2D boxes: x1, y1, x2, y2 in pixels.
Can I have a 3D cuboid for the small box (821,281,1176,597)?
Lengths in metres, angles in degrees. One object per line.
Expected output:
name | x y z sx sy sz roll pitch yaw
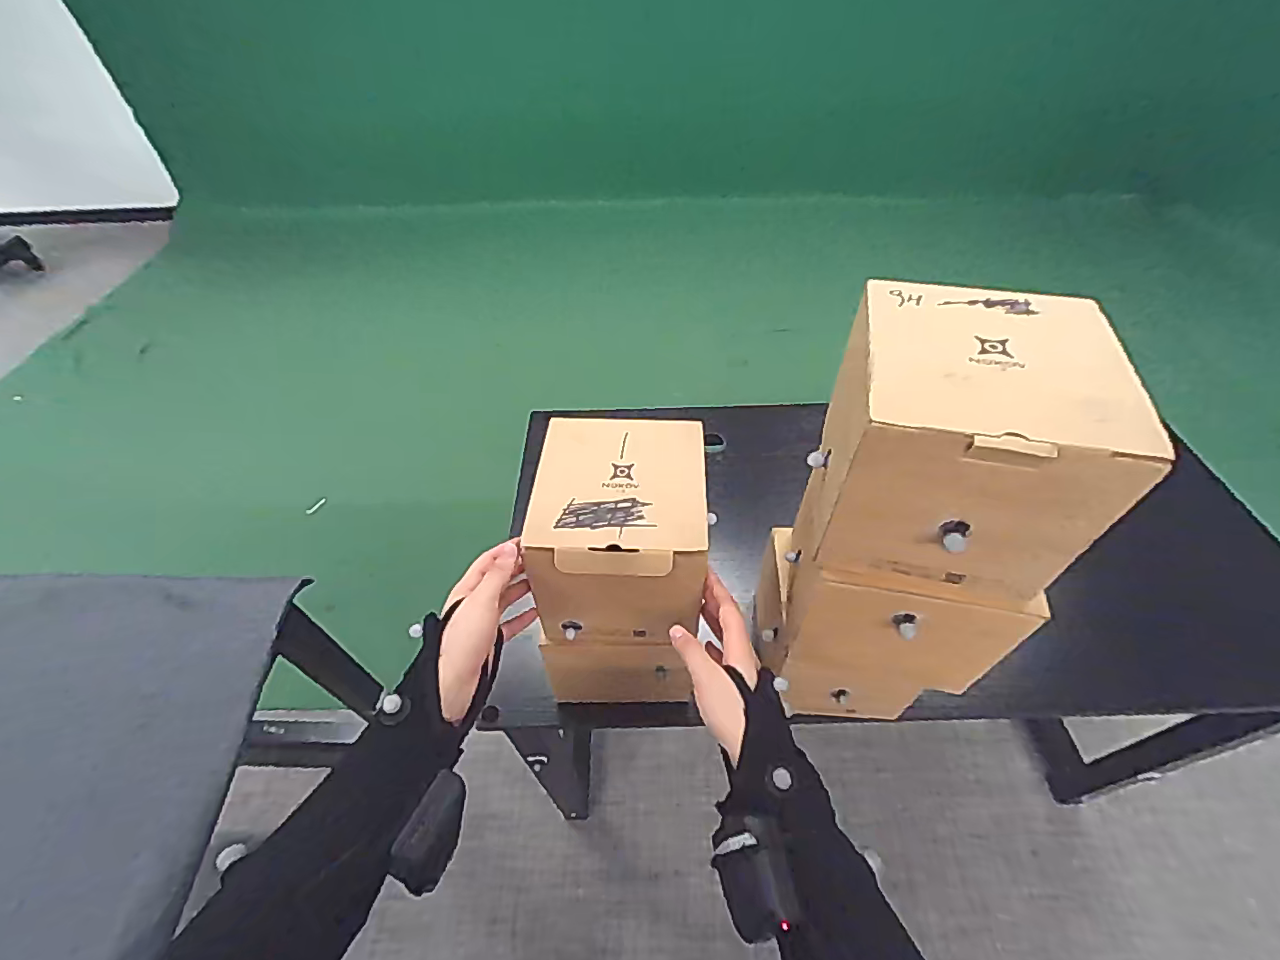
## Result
small box | 0.246 -0.031 0.428 0.168 0.176 0.179 10 51 12

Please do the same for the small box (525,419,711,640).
small box | -0.013 0.056 0.576 0.168 0.176 0.179 2 47 2

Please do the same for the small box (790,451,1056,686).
small box | 0.257 0.088 0.540 0.179 0.176 0.168 8 50 9

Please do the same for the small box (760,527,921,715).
small box | 0.248 0.179 0.677 0.168 0.176 0.179 2 49 3
